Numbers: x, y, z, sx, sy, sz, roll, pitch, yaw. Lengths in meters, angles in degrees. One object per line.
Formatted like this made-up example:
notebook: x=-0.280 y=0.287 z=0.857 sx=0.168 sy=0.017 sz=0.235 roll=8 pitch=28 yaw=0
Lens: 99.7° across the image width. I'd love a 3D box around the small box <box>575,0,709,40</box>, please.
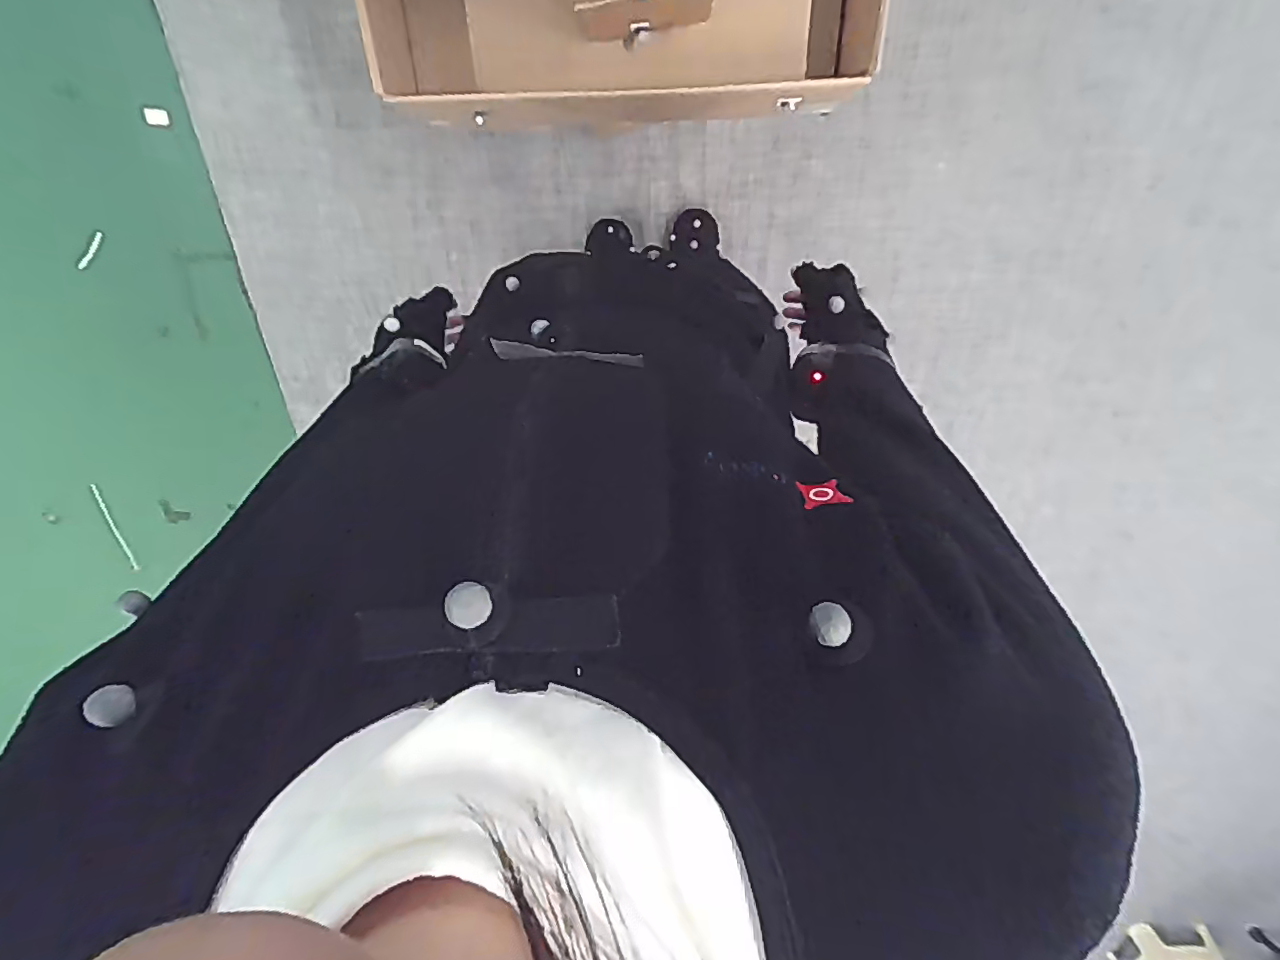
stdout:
small box: x=-0.005 y=-0.657 z=0.633 sx=0.168 sy=0.176 sz=0.179 roll=-6 pitch=118 yaw=7
